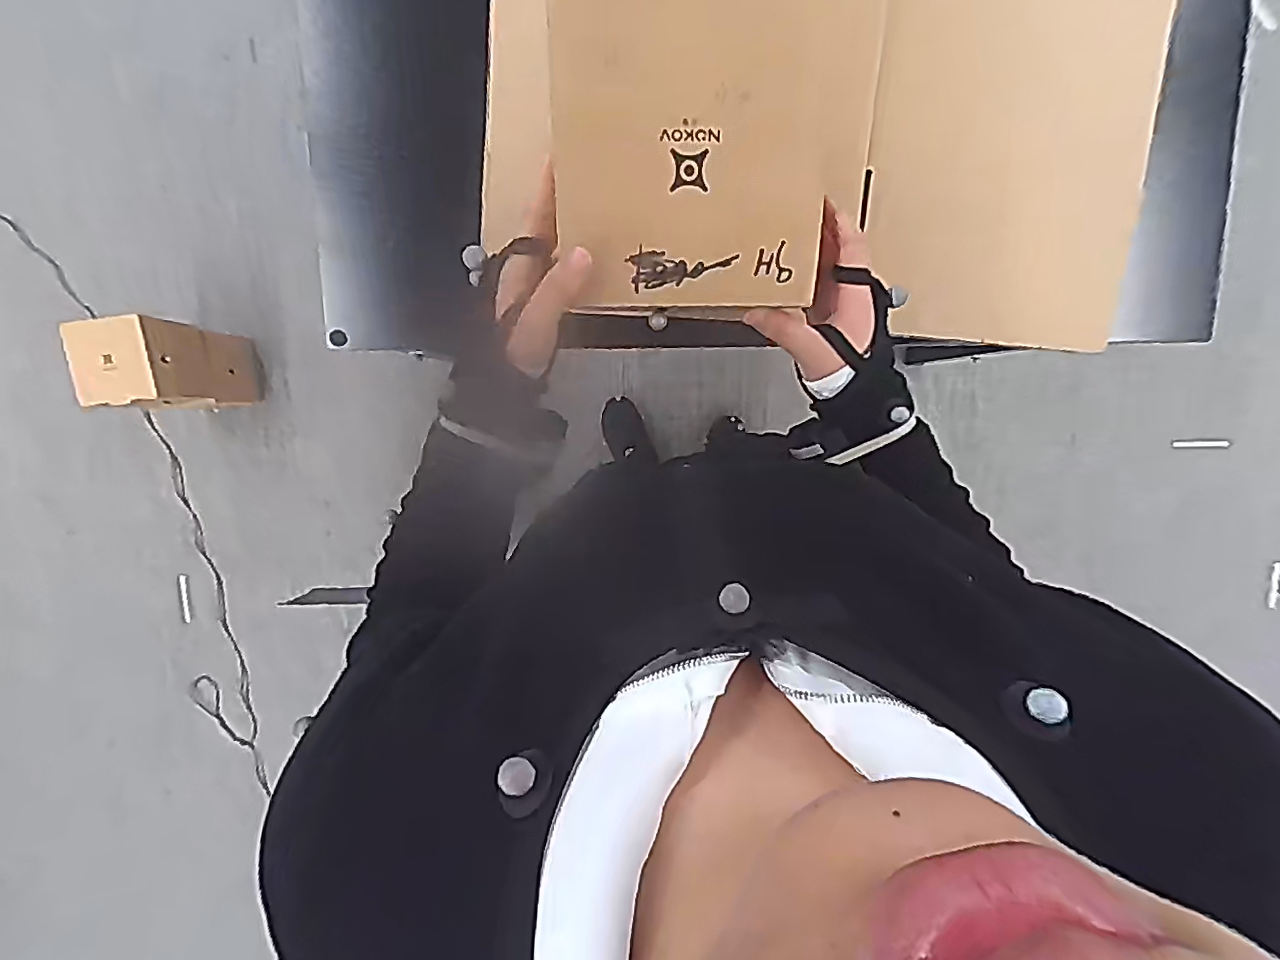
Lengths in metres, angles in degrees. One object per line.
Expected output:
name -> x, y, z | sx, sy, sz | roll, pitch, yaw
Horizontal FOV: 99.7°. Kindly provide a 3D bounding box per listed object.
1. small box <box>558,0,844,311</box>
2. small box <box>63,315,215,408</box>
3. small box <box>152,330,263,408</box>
small box -> 0.031, -0.219, 0.399 | 0.168, 0.176, 0.179 | -1, 106, -1
small box -> -1.099, -0.258, 1.203 | 0.168, 0.176, 0.179 | -8, 97, 0
small box -> -1.098, -0.274, 1.365 | 0.168, 0.176, 0.179 | -5, 99, 0
